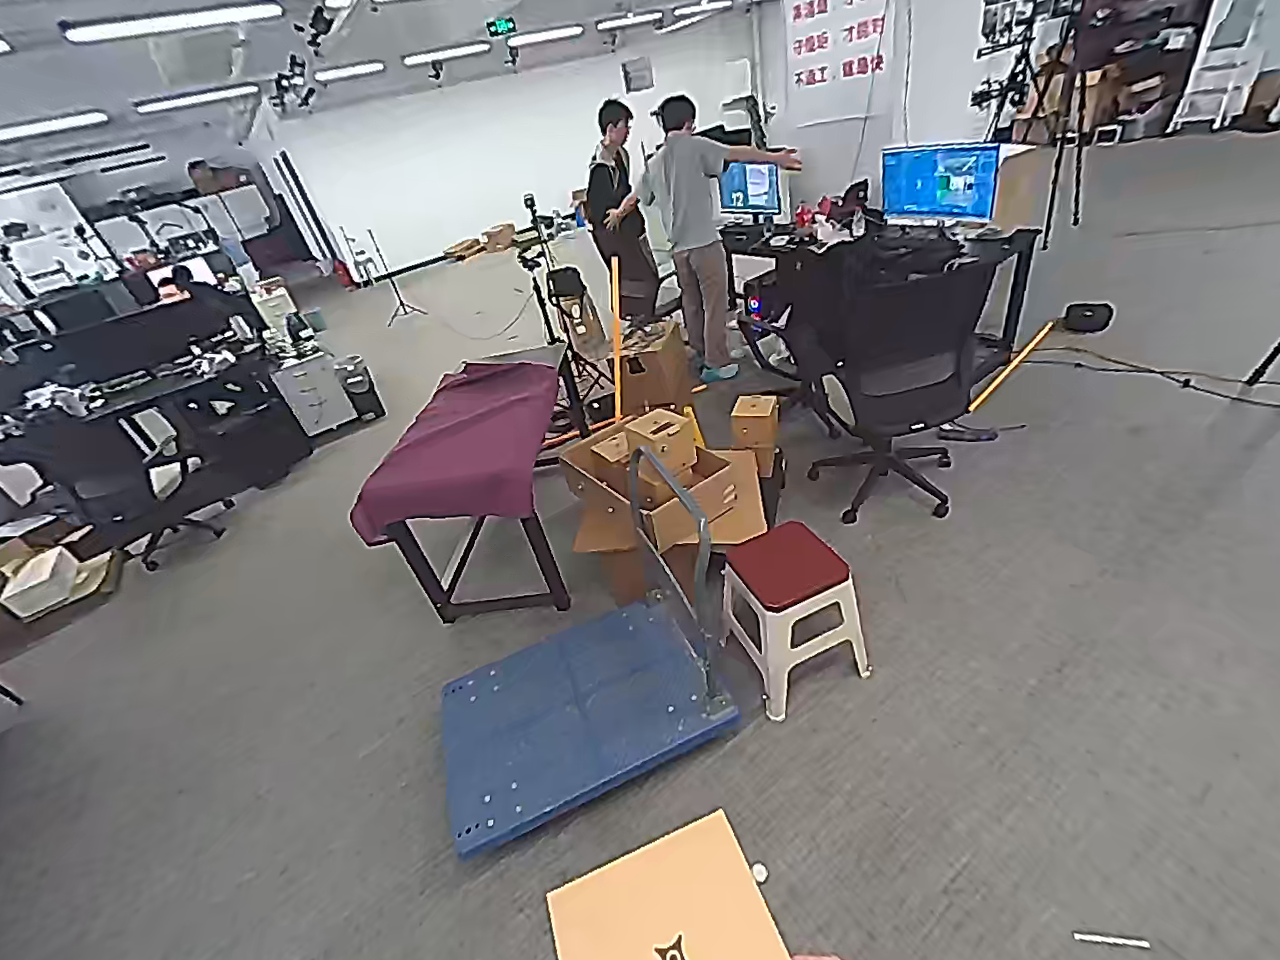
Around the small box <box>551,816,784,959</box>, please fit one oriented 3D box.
[{"bbox_3d":[0.036,0.435,0.458,0.168,0.176,0.179,-19,41,-10],"label":"small box"}]
